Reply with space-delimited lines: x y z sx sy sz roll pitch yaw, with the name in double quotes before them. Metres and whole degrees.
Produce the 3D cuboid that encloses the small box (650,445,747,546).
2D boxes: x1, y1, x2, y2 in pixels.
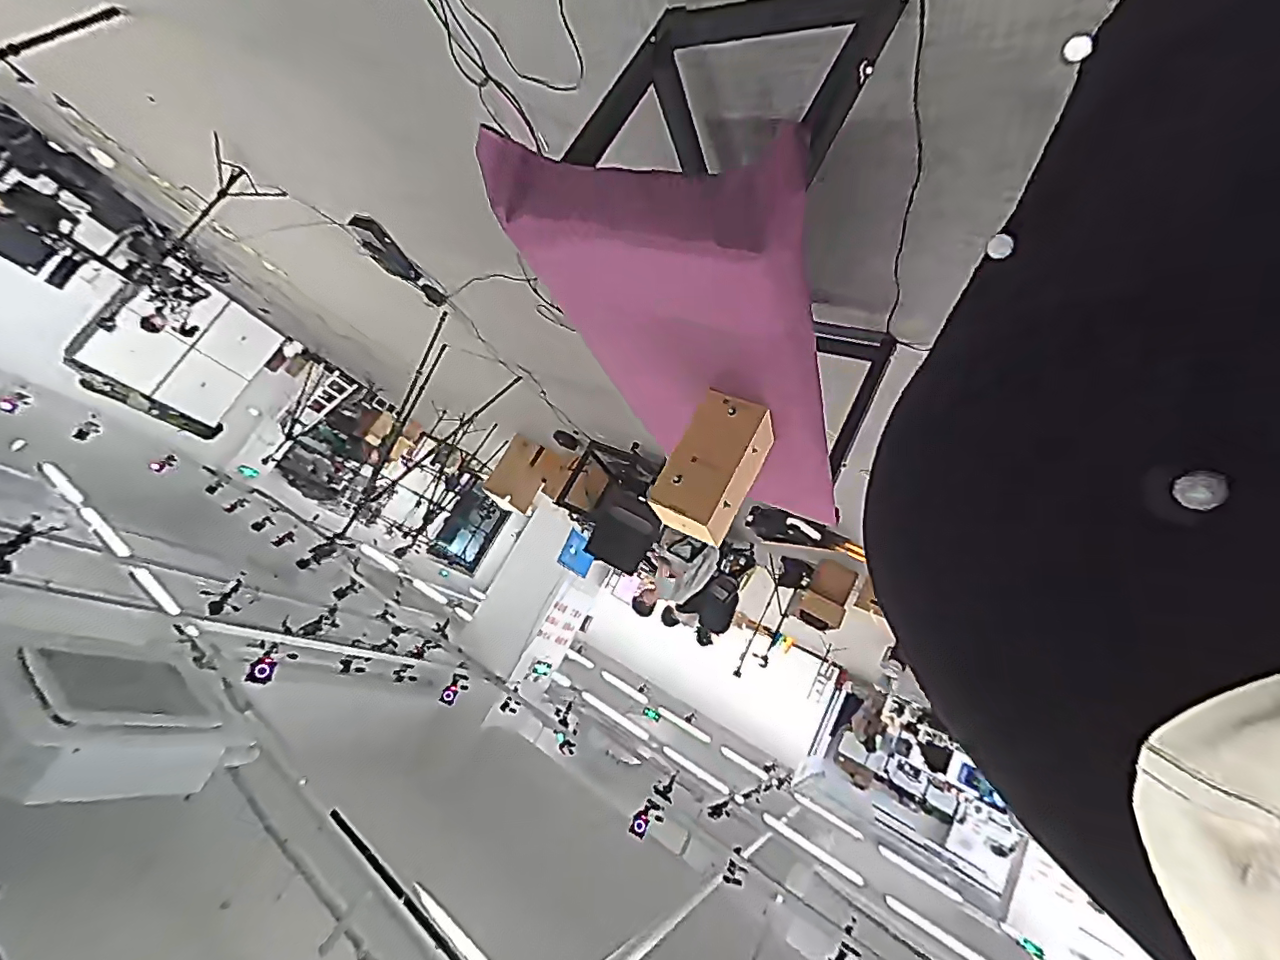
"small box" 0.151 0.036 1.338 0.168 0.176 0.179 24 165 26
